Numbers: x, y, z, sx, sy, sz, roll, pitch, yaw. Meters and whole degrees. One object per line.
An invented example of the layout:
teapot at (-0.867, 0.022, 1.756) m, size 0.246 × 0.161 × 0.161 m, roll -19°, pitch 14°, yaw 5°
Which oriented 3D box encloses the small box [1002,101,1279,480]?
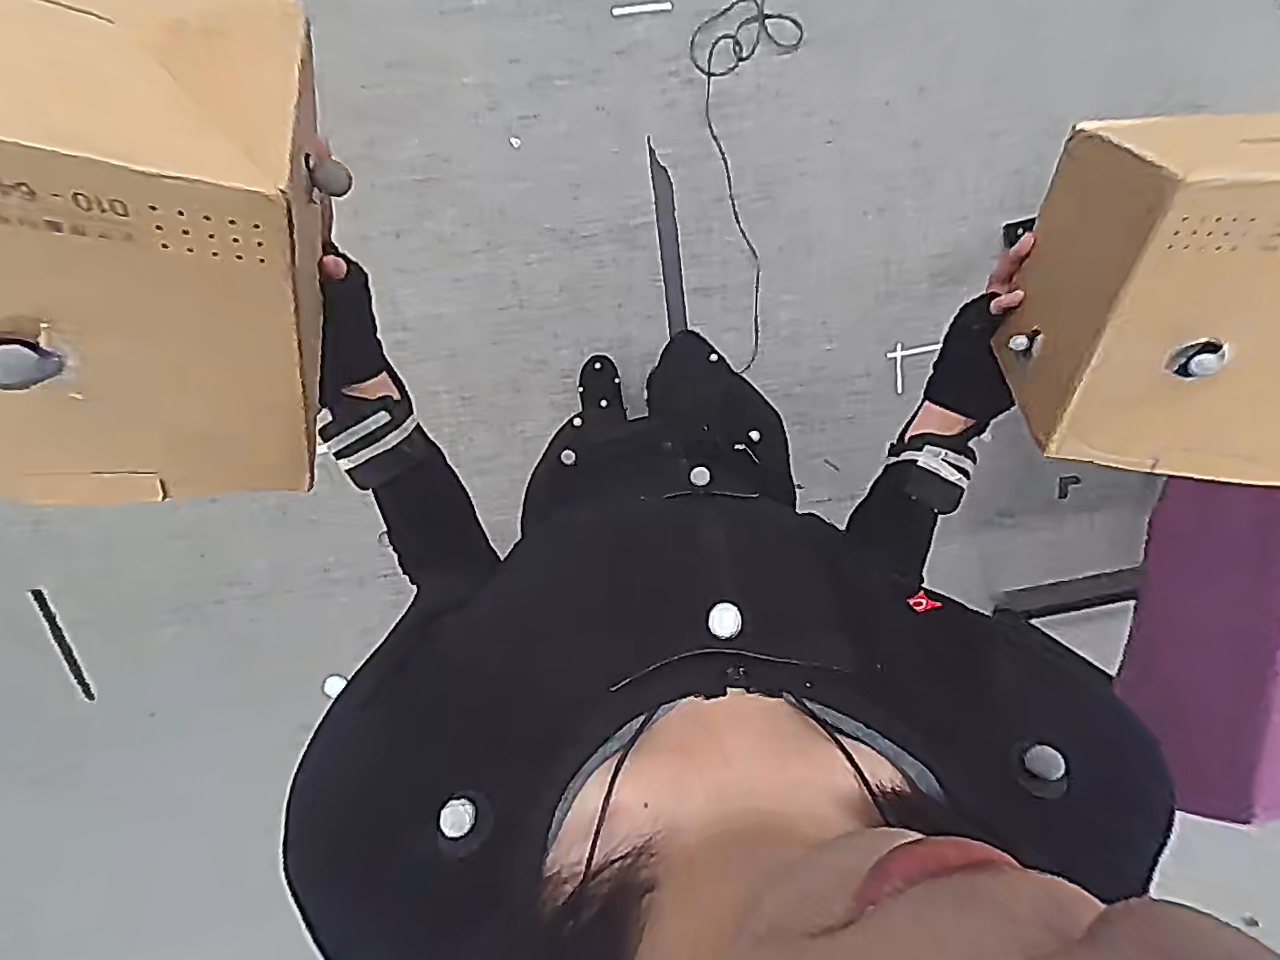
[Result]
small box at (0.356, -0.119, 0.327) m, size 0.168 × 0.179 × 0.176 m, roll 10°, pitch 131°, yaw 15°

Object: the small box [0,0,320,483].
small box at (-0.231, -0.117, 0.217) m, size 0.168 × 0.179 × 0.176 m, roll 1°, pitch 143°, yaw -28°
